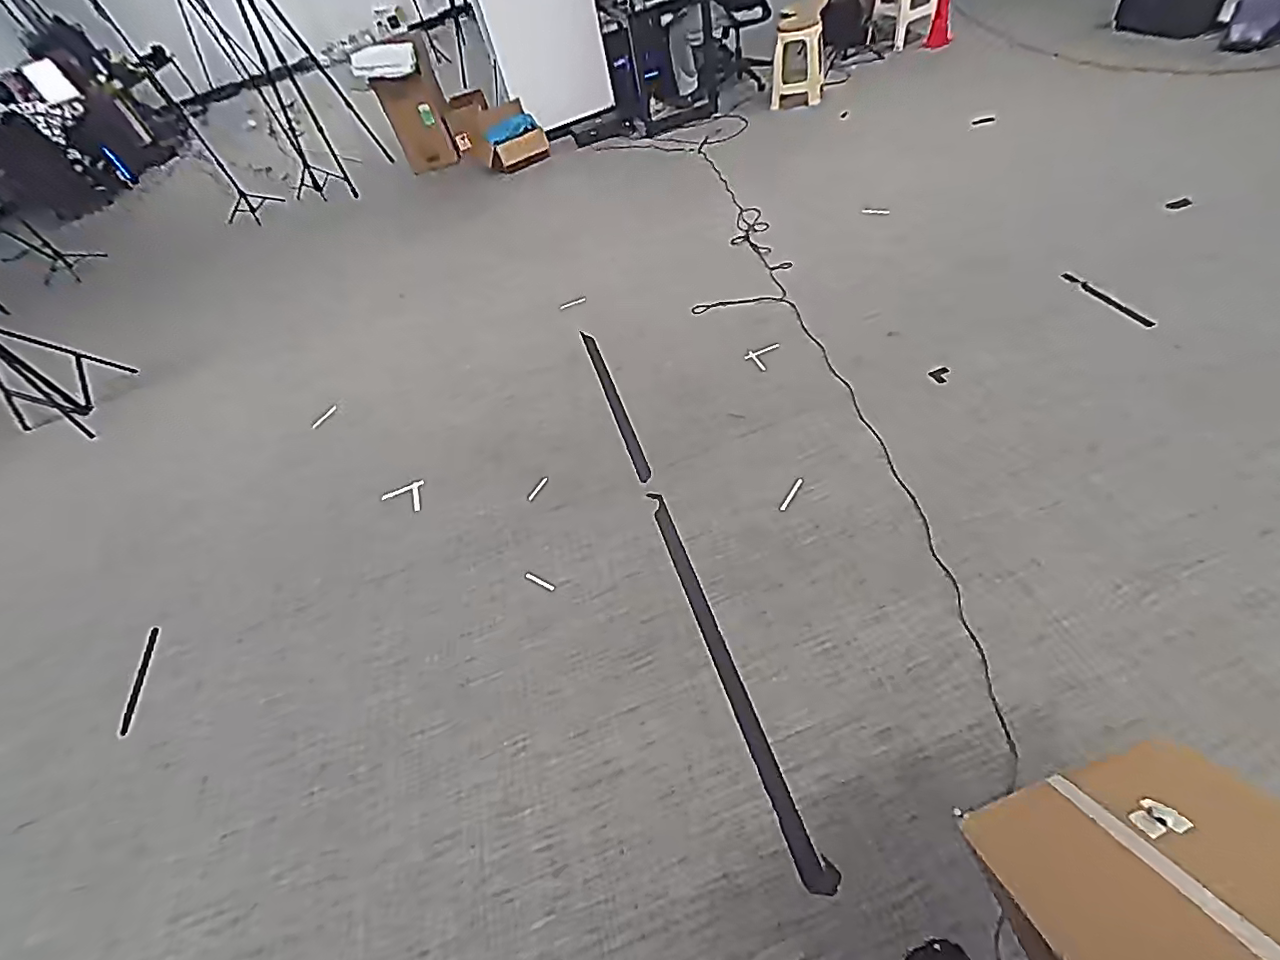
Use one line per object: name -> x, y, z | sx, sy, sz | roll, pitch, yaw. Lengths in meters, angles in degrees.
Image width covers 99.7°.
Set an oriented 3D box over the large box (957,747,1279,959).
large box -> 0.662, 0.586, 0.596 | 0.320, 0.408, 0.320 | -26, 86, 4
